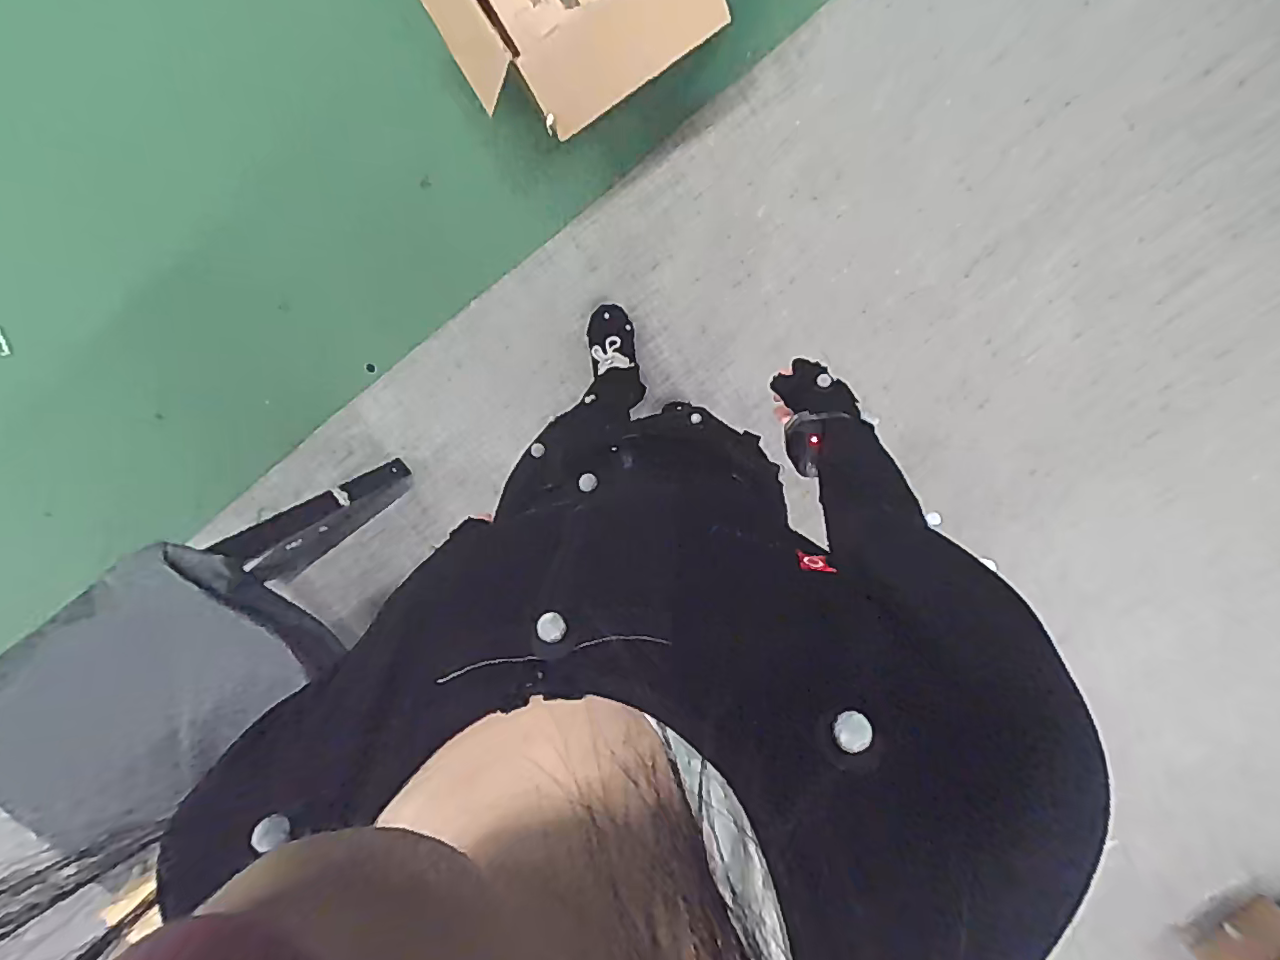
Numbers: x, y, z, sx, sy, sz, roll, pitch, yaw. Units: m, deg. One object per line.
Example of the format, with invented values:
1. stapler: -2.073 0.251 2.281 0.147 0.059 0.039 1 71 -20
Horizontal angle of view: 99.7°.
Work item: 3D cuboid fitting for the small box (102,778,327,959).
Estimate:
1. small box: -0.636 0.609 0.833 0.179 0.176 0.168 -33 102 9
